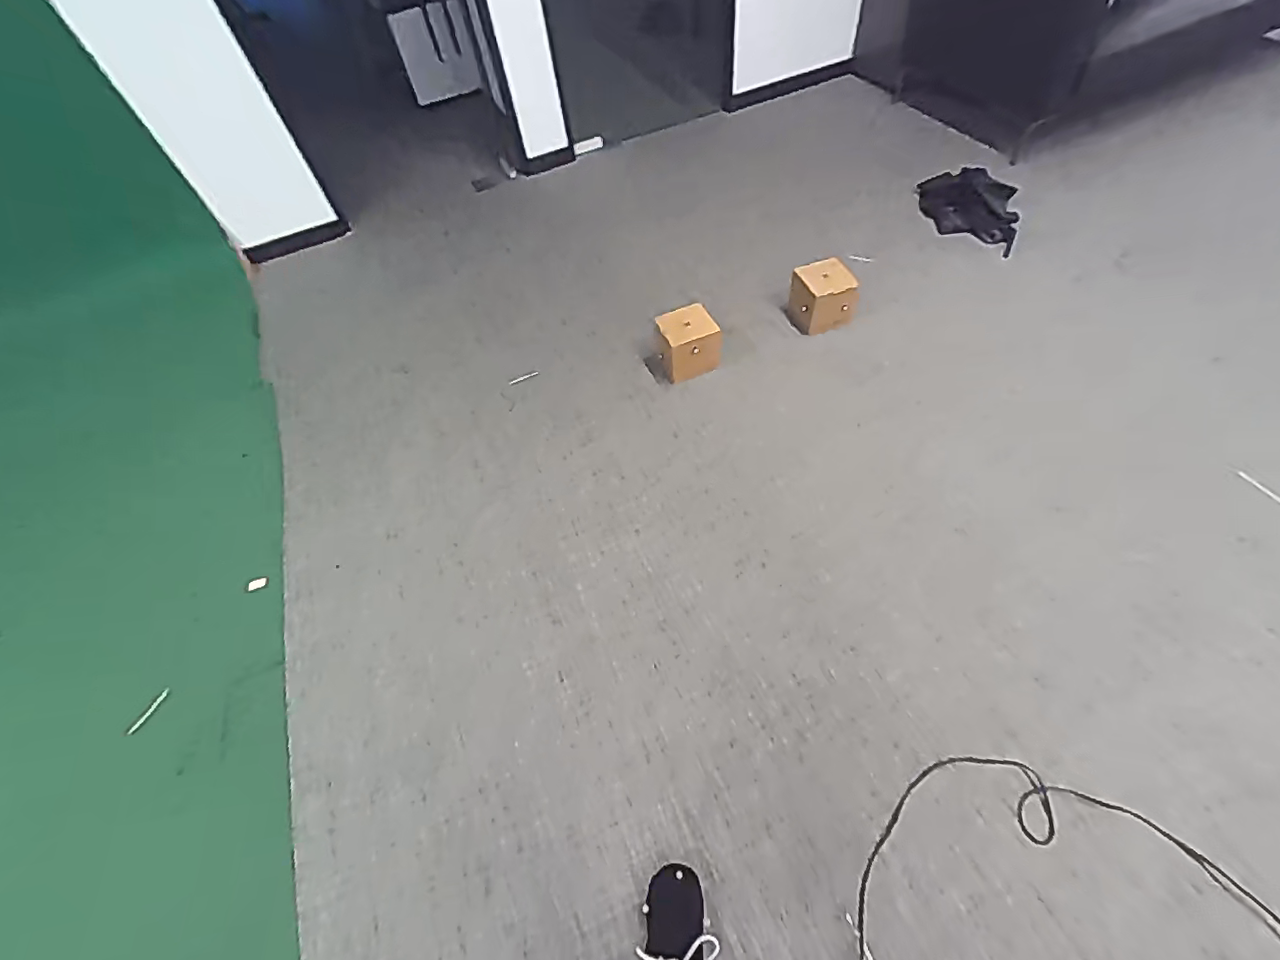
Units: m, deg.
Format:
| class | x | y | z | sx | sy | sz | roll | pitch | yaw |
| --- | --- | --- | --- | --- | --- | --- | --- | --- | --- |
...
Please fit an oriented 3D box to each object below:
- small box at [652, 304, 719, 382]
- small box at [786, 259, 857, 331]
| class | x | y | z | sx | sy | sz | roll | pitch | yaw |
| --- | --- | --- | --- | --- | --- | --- | --- | --- | --- |
| small box | 0.155 | -0.466 | 1.851 | 0.179 | 0.176 | 0.168 | -21 | 56 | -8 |
| small box | 0.639 | -0.650 | 1.924 | 0.168 | 0.176 | 0.179 | -17 | 54 | -7 |
